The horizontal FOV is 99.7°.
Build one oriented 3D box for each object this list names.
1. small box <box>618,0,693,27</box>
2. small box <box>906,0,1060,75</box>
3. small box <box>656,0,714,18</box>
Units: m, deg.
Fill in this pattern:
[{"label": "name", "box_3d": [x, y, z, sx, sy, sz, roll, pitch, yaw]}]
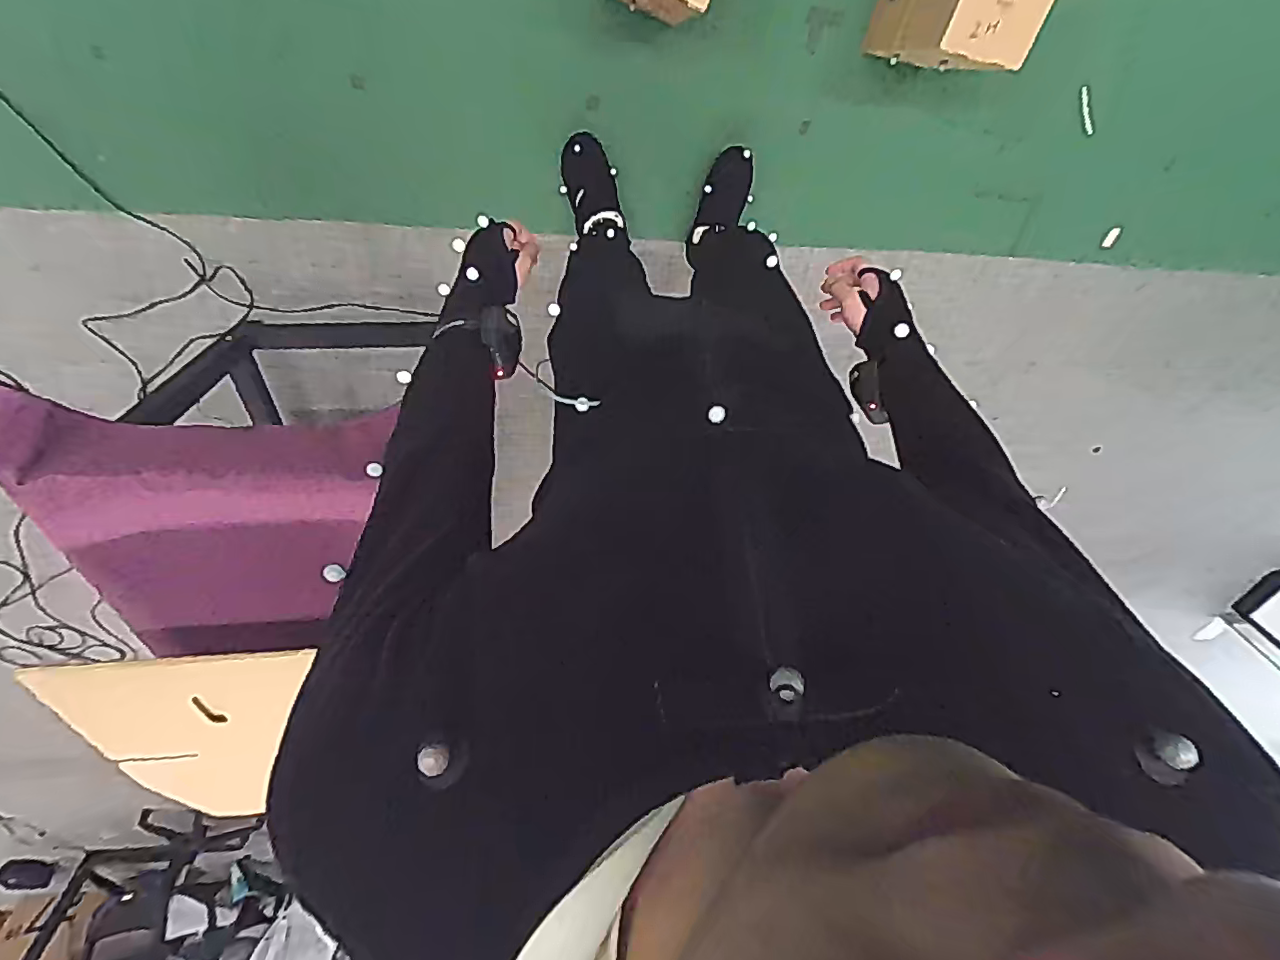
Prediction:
[{"label": "small box", "box_3d": [0.039, -0.981, 1.002, 0.168, 0.176, 0.179, 12, 127, -15]}, {"label": "small box", "box_3d": [0.610, -0.844, 0.958, 0.168, 0.176, 0.179, 5, 127, -10]}, {"label": "small box", "box_3d": [0.062, -0.884, 0.870, 0.168, 0.176, 0.179, 14, 125, -17]}]
